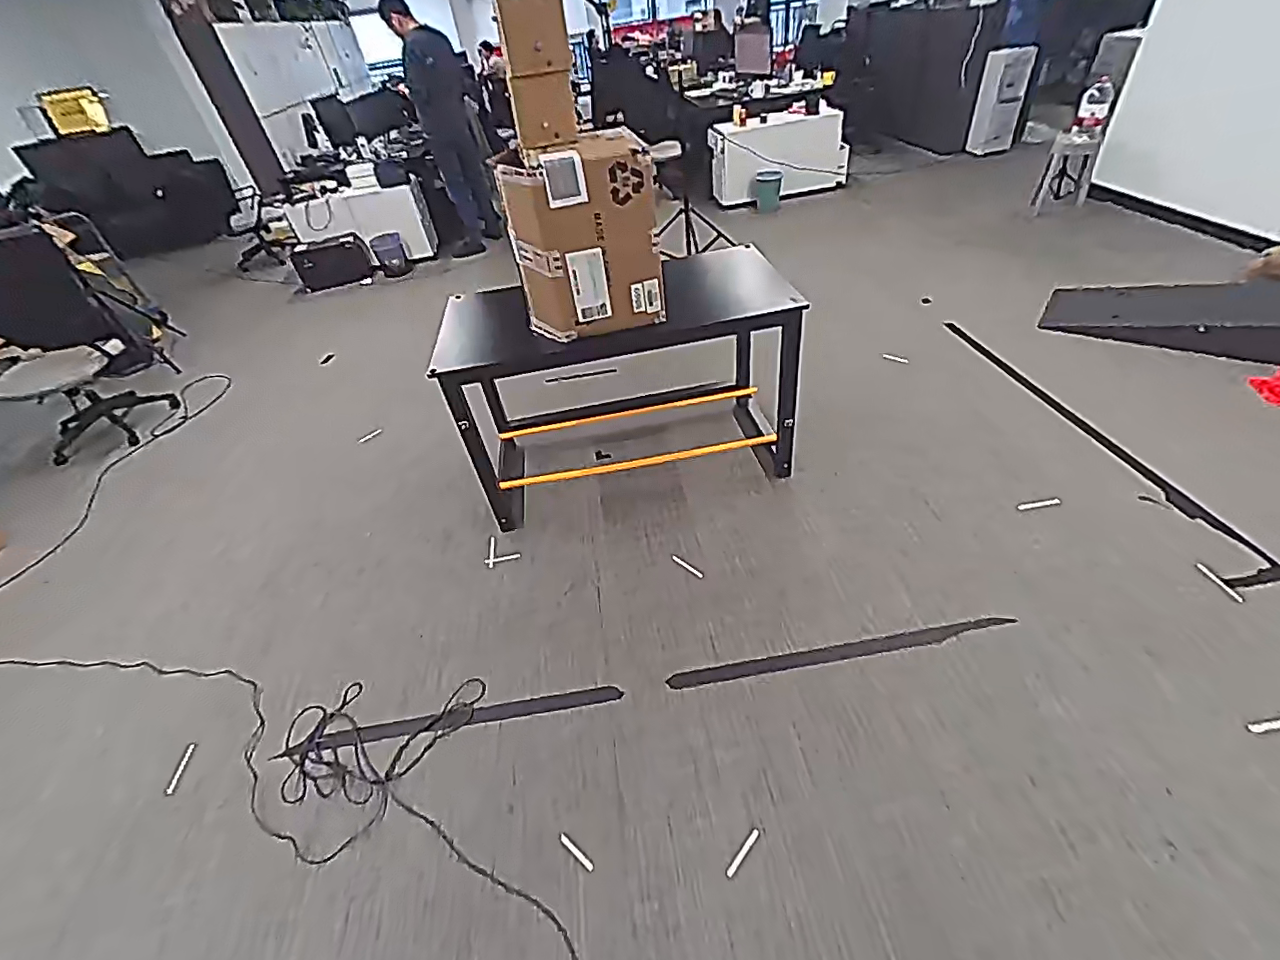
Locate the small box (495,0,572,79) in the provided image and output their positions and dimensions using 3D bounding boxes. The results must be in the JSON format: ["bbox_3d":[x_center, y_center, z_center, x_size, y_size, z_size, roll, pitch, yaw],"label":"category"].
[{"bbox_3d":[-0.287,-1.192,1.458,0.168,0.176,0.179,-15,39,-8],"label":"small box"}]

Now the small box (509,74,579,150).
[{"bbox_3d":[-0.278,-1.068,1.567,0.168,0.176,0.179,-13,40,-7],"label":"small box"}]
